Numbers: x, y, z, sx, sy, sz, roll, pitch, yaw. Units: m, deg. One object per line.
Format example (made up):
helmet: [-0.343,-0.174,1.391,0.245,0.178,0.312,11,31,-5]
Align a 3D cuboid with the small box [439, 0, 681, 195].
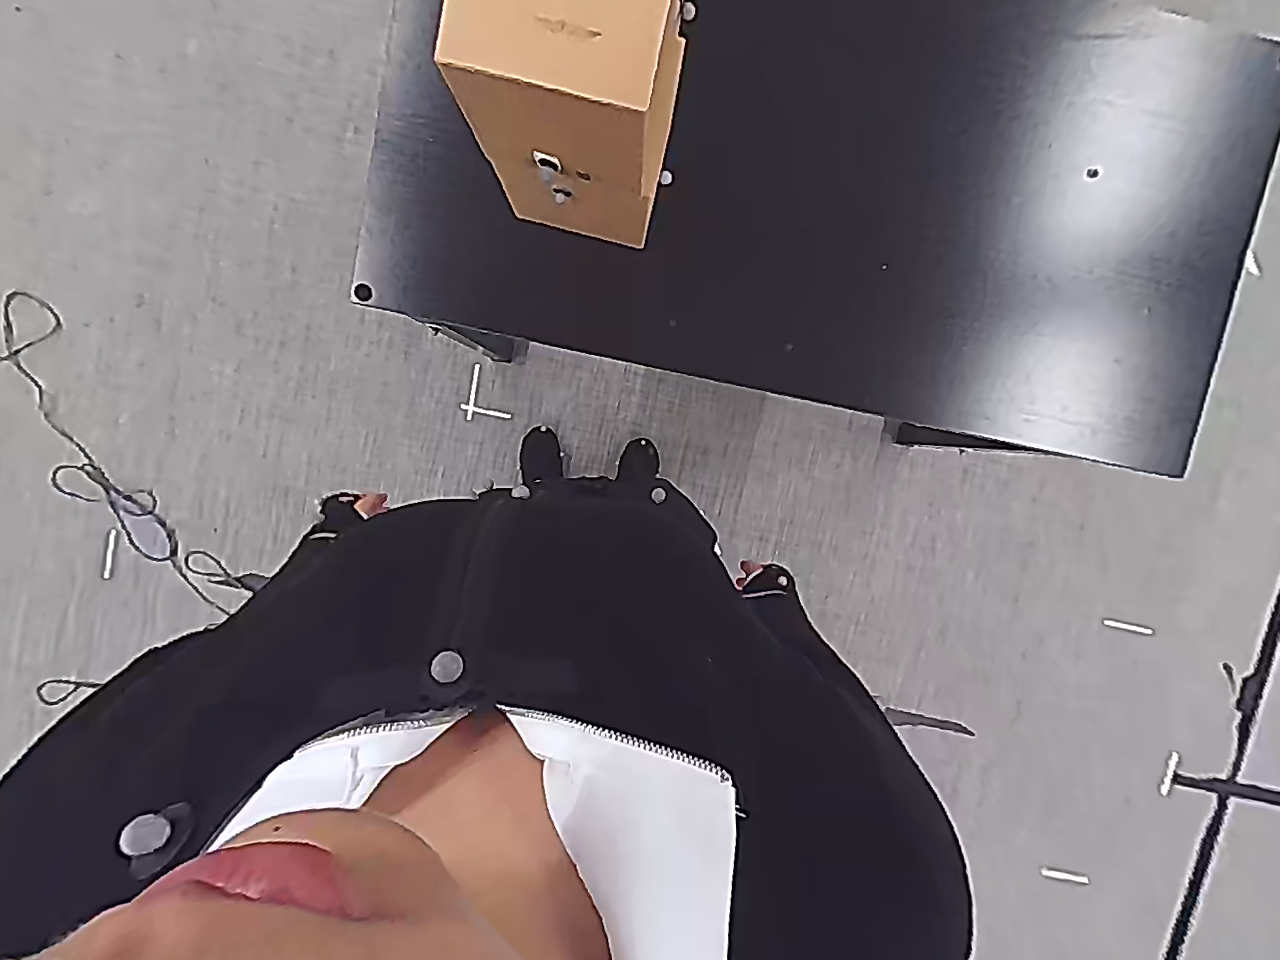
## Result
small box: [-0.056,-0.391,0.480,0.168,0.176,0.179,12,96,-2]

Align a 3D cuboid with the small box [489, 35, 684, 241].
small box: [-0.060,-0.408,0.642,0.179,0.176,0.168,13,95,-4]
